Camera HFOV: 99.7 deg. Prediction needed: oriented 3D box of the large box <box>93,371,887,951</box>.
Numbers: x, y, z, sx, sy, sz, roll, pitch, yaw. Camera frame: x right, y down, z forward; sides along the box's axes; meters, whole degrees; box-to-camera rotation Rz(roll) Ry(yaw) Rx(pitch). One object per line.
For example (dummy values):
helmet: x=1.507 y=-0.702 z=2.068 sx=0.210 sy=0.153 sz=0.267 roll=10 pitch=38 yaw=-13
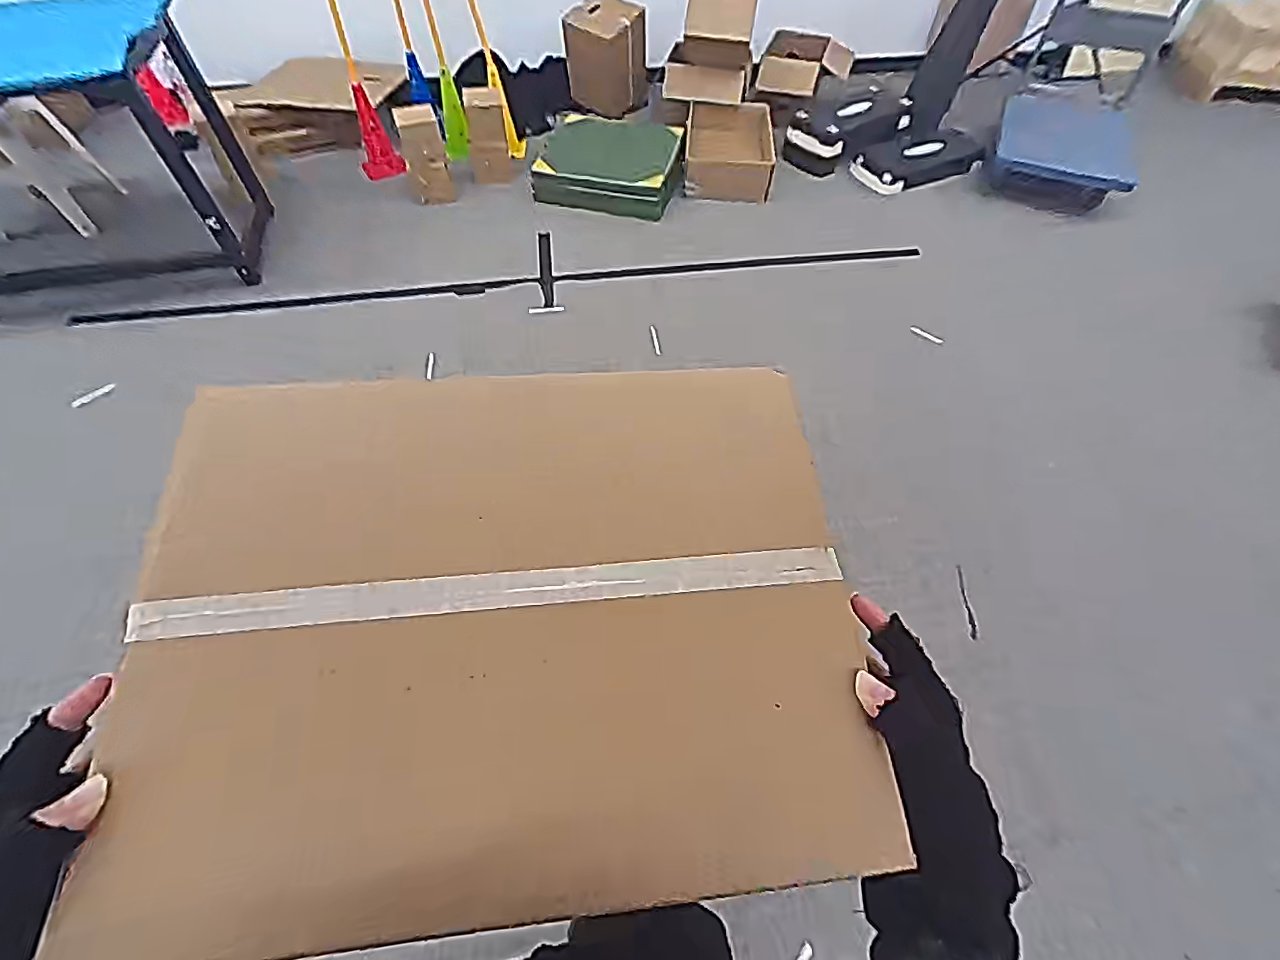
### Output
large box: x=-0.088 y=0.131 z=0.469 sx=0.408 sy=0.320 sz=0.320 roll=-4 pitch=65 yaw=-7
